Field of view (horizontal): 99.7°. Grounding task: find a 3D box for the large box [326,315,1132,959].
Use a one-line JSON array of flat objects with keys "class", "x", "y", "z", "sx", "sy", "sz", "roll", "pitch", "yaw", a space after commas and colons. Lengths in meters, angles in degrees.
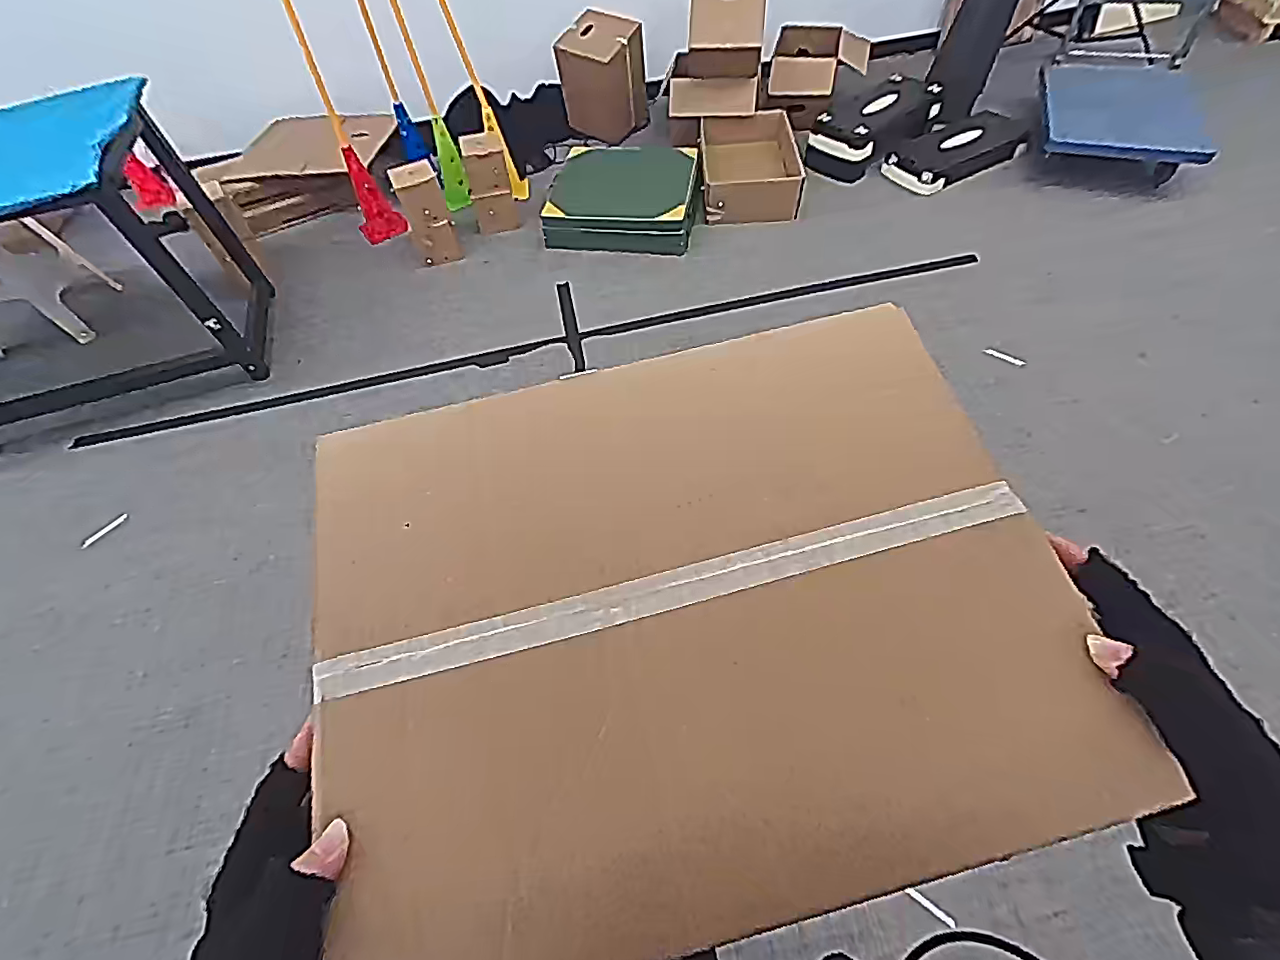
[{"class": "large box", "x": 0.028, "y": 0.124, "z": 0.451, "sx": 0.408, "sy": 0.320, "sz": 0.320, "roll": -15, "pitch": 65, "yaw": -3}]
